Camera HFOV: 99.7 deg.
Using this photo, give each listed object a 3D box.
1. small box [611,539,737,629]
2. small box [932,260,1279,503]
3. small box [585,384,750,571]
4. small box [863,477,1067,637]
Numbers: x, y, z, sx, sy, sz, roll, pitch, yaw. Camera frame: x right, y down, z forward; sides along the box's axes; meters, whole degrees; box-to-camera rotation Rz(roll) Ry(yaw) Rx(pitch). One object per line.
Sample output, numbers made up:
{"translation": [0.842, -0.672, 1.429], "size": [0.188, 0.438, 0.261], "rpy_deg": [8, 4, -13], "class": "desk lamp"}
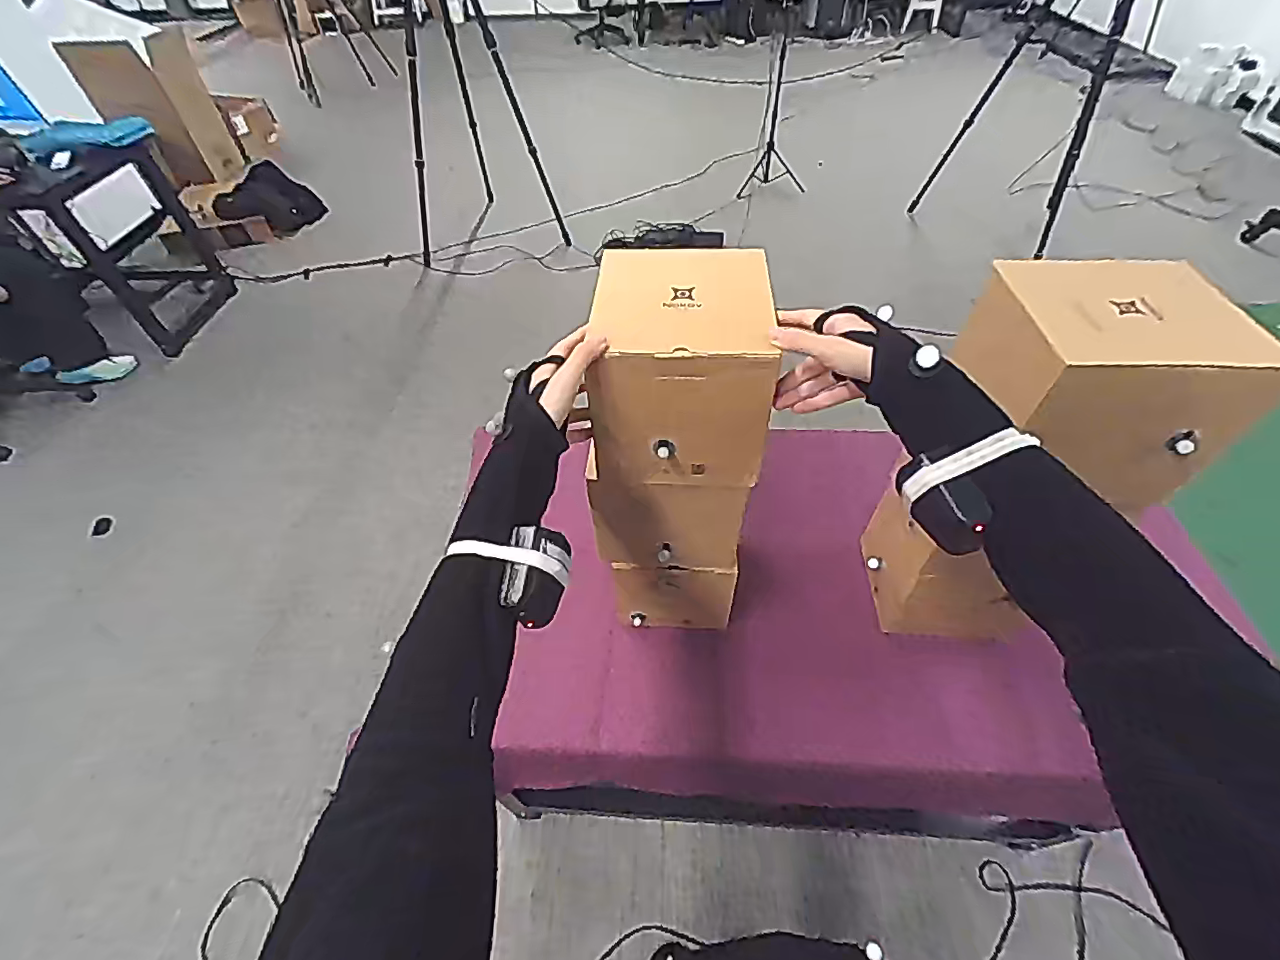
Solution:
{"translation": [0.053, 0.107, 0.804], "size": [0.168, 0.176, 0.179], "rpy_deg": [1, 49, 3], "class": "small box"}
{"translation": [0.419, -0.091, 0.521], "size": [0.179, 0.176, 0.168], "rpy_deg": [1, 49, 5], "class": "small box"}
{"translation": [0.036, 0.000, 0.679], "size": [0.179, 0.176, 0.168], "rpy_deg": [3, 49, 4], "class": "small box"}
{"translation": [0.445, 0.114, 0.777], "size": [0.179, 0.176, 0.168], "rpy_deg": [2, 49, 4], "class": "small box"}
